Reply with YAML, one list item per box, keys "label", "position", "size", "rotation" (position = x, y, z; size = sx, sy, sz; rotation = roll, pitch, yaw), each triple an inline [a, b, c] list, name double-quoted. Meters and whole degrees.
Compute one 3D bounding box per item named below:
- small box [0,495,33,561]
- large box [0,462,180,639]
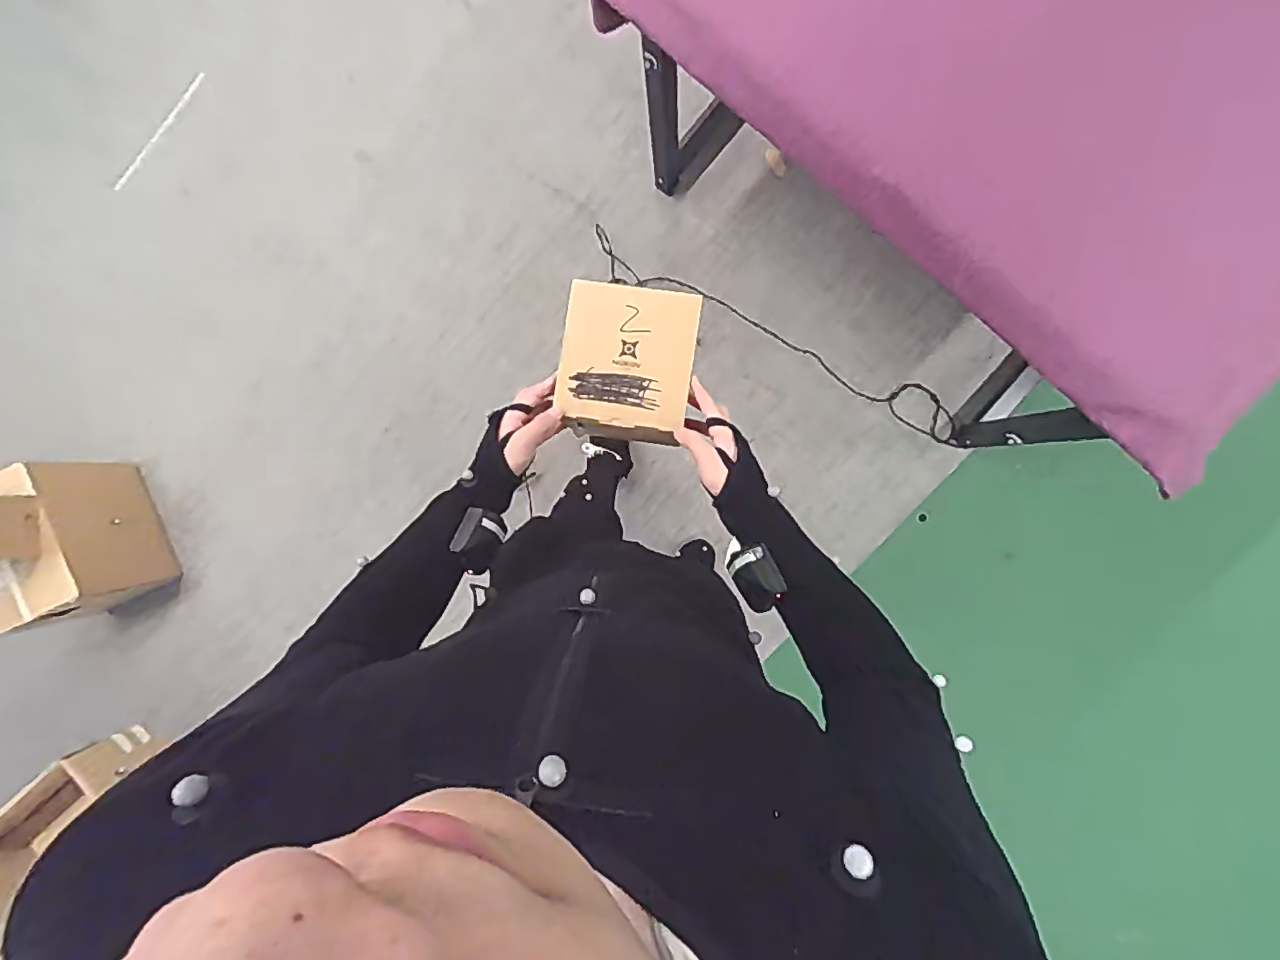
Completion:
- label: "small box"
  position: [-1.690, 0.127, 1.347]
  size: [0.179, 0.176, 0.168]
  rotation: [-4, 91, 3]
- label: "large box"
  position: [-1.697, 0.189, 1.594]
  size: [0.320, 0.320, 0.408]
  rotation: [-24, 91, 5]
